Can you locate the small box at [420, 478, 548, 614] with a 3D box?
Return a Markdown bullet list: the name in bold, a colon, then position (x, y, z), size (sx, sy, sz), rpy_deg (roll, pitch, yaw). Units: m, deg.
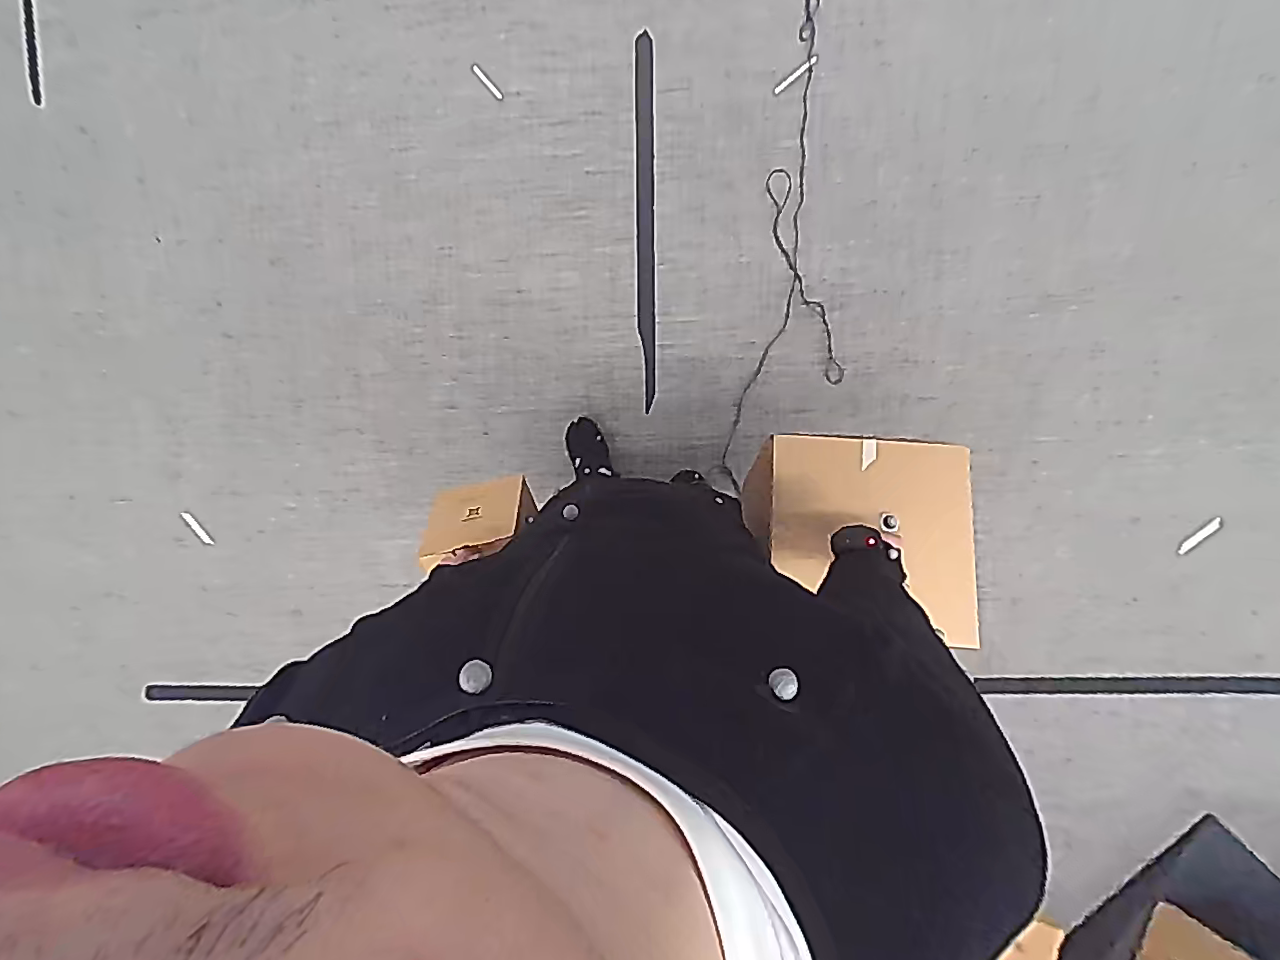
- **small box**: position (-0.273, 0.126, 0.992), size (0.168, 0.179, 0.176), rpy_deg (-12, 125, 3)
